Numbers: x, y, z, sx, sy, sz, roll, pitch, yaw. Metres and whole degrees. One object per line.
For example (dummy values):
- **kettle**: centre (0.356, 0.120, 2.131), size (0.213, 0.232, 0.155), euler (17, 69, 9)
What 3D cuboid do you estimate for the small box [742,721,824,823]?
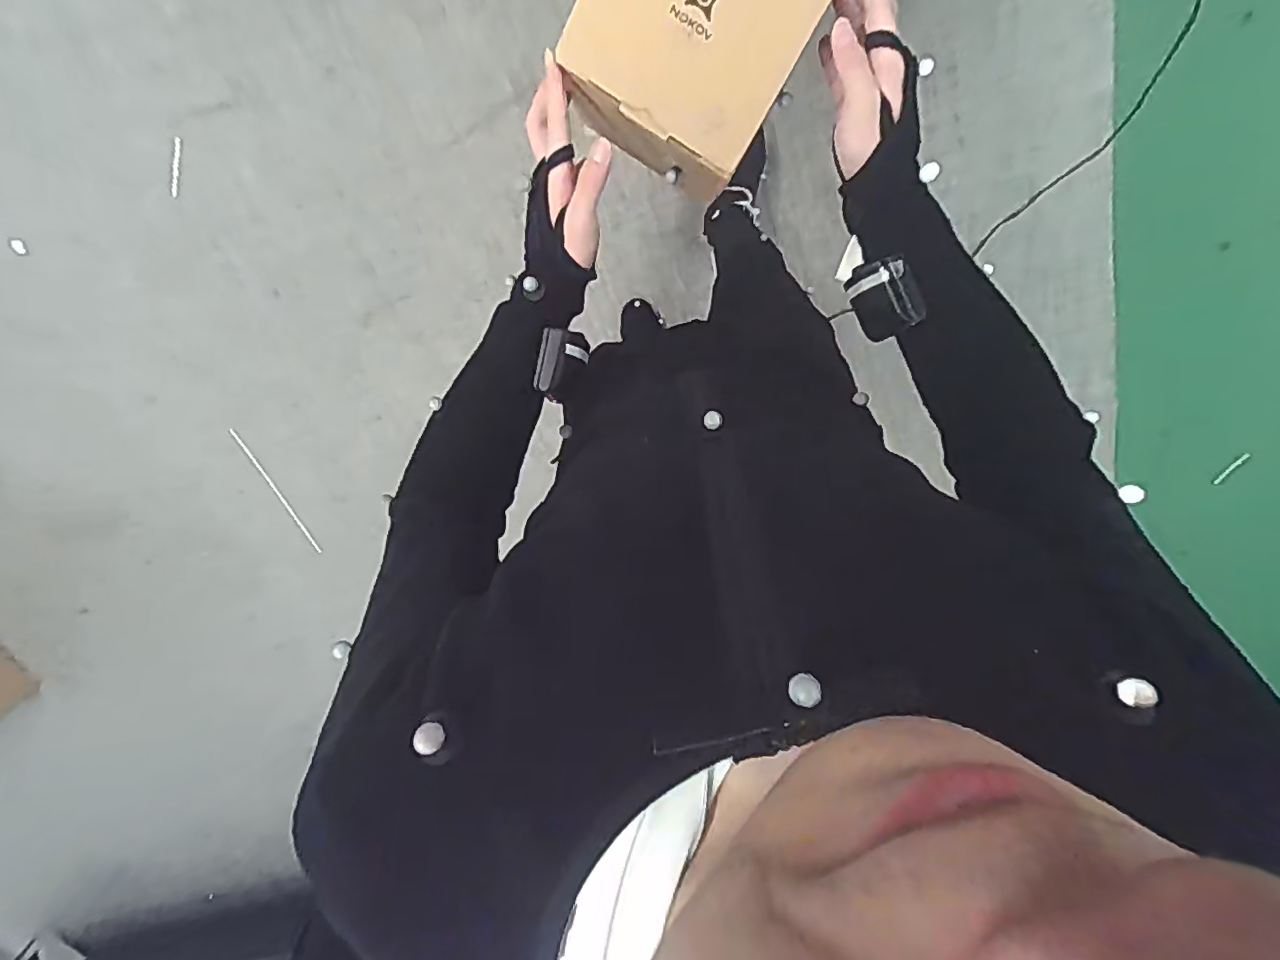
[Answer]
- **small box**: centre (0.379, 0.773, 1.450), size (0.168, 0.176, 0.179), euler (-13, 114, 6)

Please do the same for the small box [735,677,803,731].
- **small box**: centre (0.384, 0.706, 1.598), size (0.168, 0.176, 0.179), euler (-12, 113, 6)
